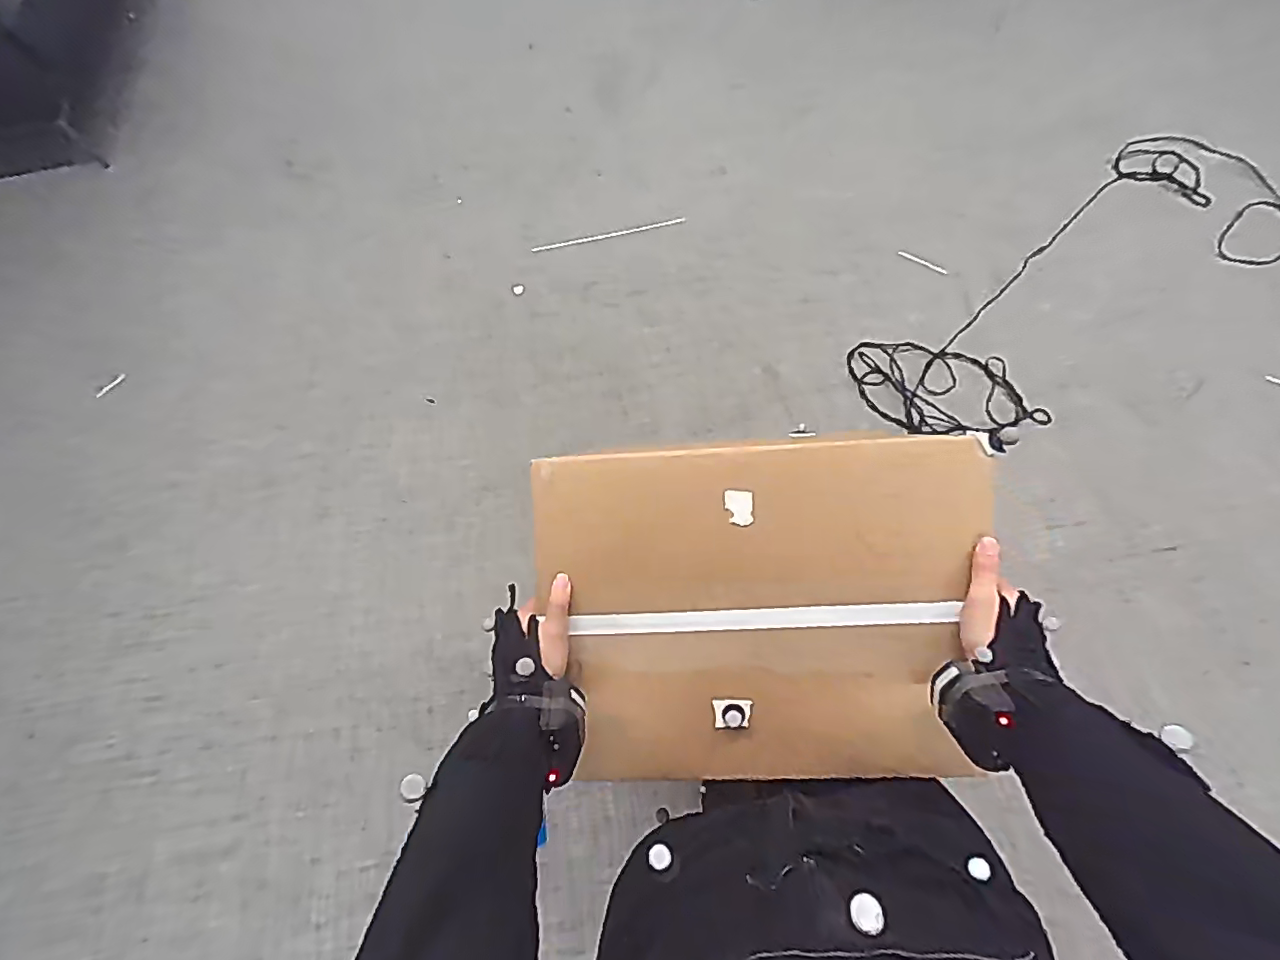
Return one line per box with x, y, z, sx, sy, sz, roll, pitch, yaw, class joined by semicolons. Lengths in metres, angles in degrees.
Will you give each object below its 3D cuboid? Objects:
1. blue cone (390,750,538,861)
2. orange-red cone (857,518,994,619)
-0.328;0.617;0.981;0.192;0.380;0.193;-9;68;3;blue cone
0.580;0.139;1.049;0.199;0.360;0.198;9;71;8;orange-red cone
